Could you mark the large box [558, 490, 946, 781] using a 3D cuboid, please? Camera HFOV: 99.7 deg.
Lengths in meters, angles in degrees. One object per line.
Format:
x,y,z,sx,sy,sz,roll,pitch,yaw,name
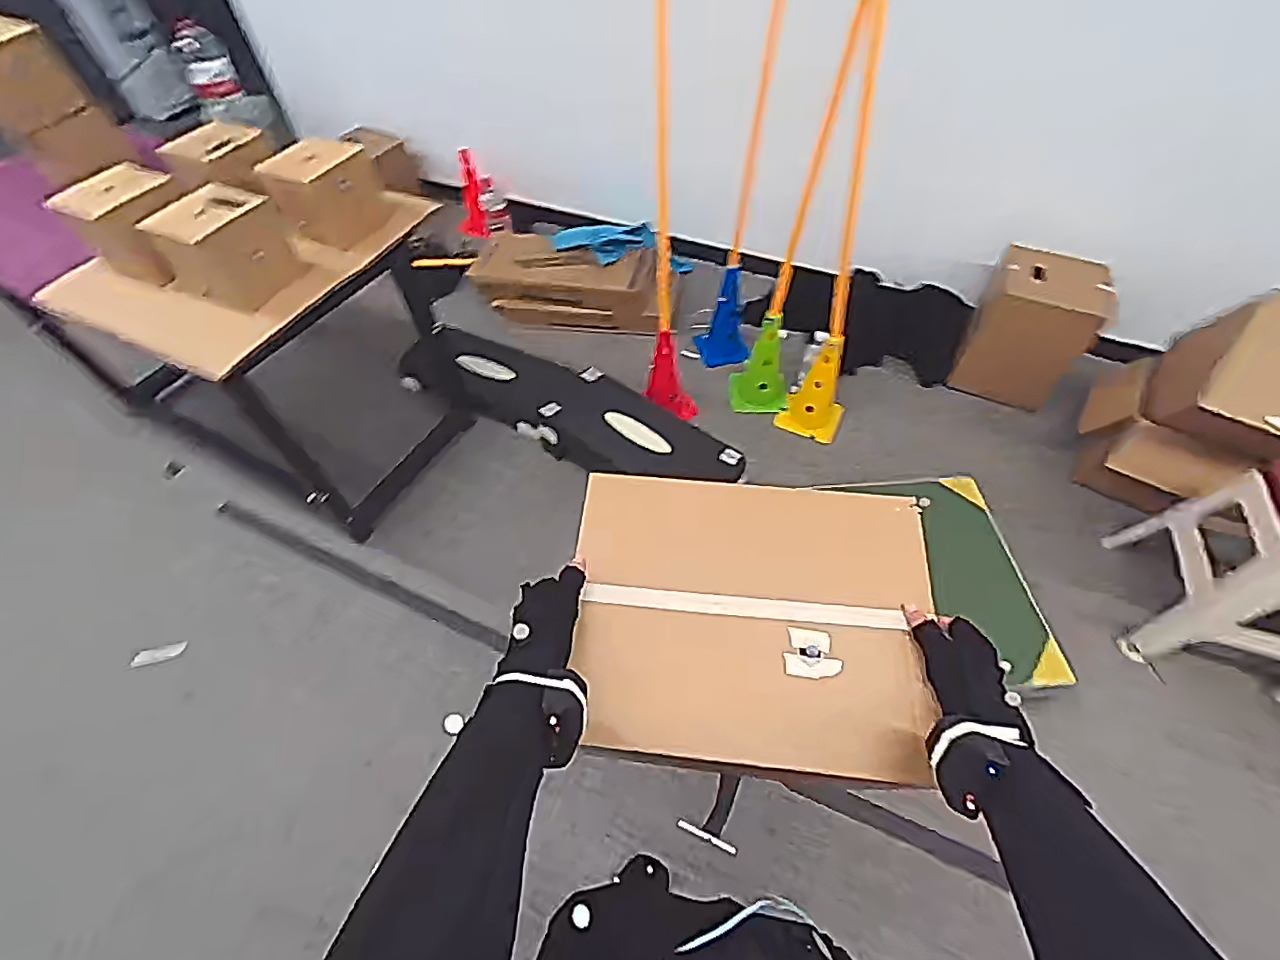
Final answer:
0.123,0.228,0.751,0.408,0.320,0.320,4,62,3,large box
